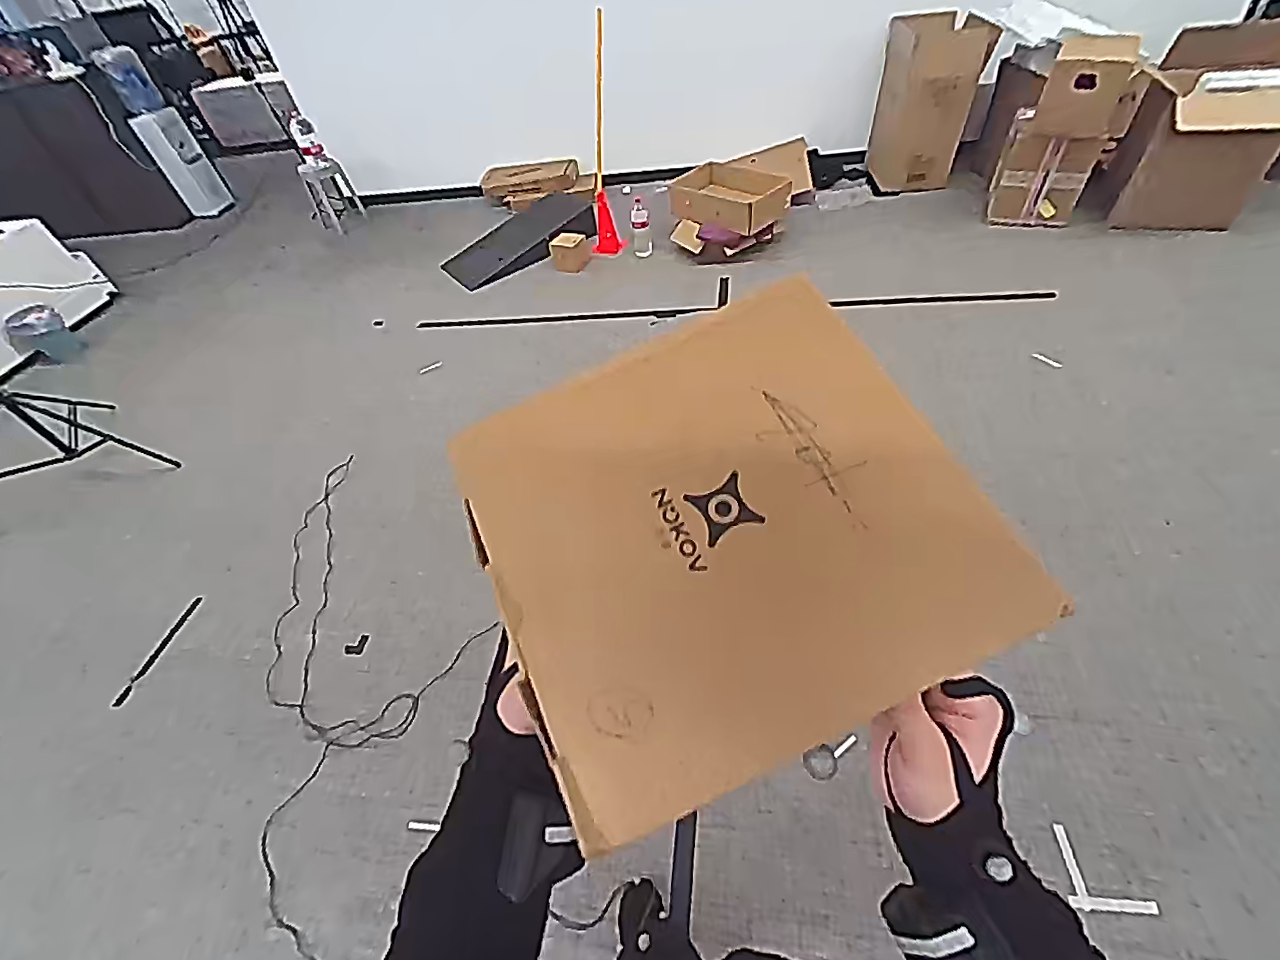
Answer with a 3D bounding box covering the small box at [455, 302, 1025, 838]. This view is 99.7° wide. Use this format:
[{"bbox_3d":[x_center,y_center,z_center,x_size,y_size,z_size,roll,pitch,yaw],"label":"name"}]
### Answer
[{"bbox_3d":[0.037,0.050,0.288,0.179,0.176,0.168,-26,67,-3],"label":"small box"}]
